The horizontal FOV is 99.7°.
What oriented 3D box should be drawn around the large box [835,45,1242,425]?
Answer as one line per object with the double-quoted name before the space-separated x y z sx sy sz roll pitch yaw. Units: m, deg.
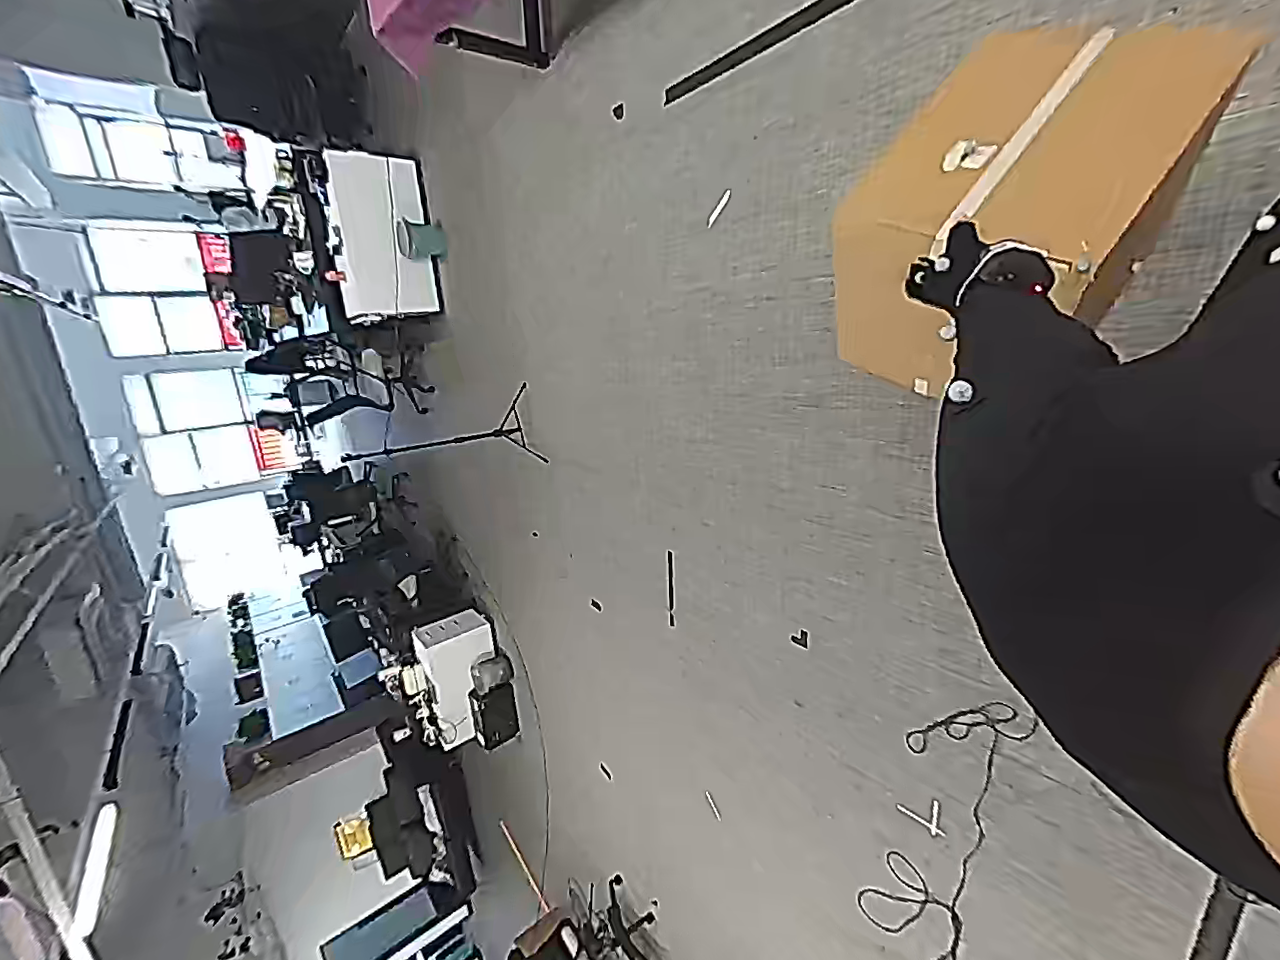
"large box" 0.552 -0.367 0.824 0.320 0.408 0.320 35 169 36
